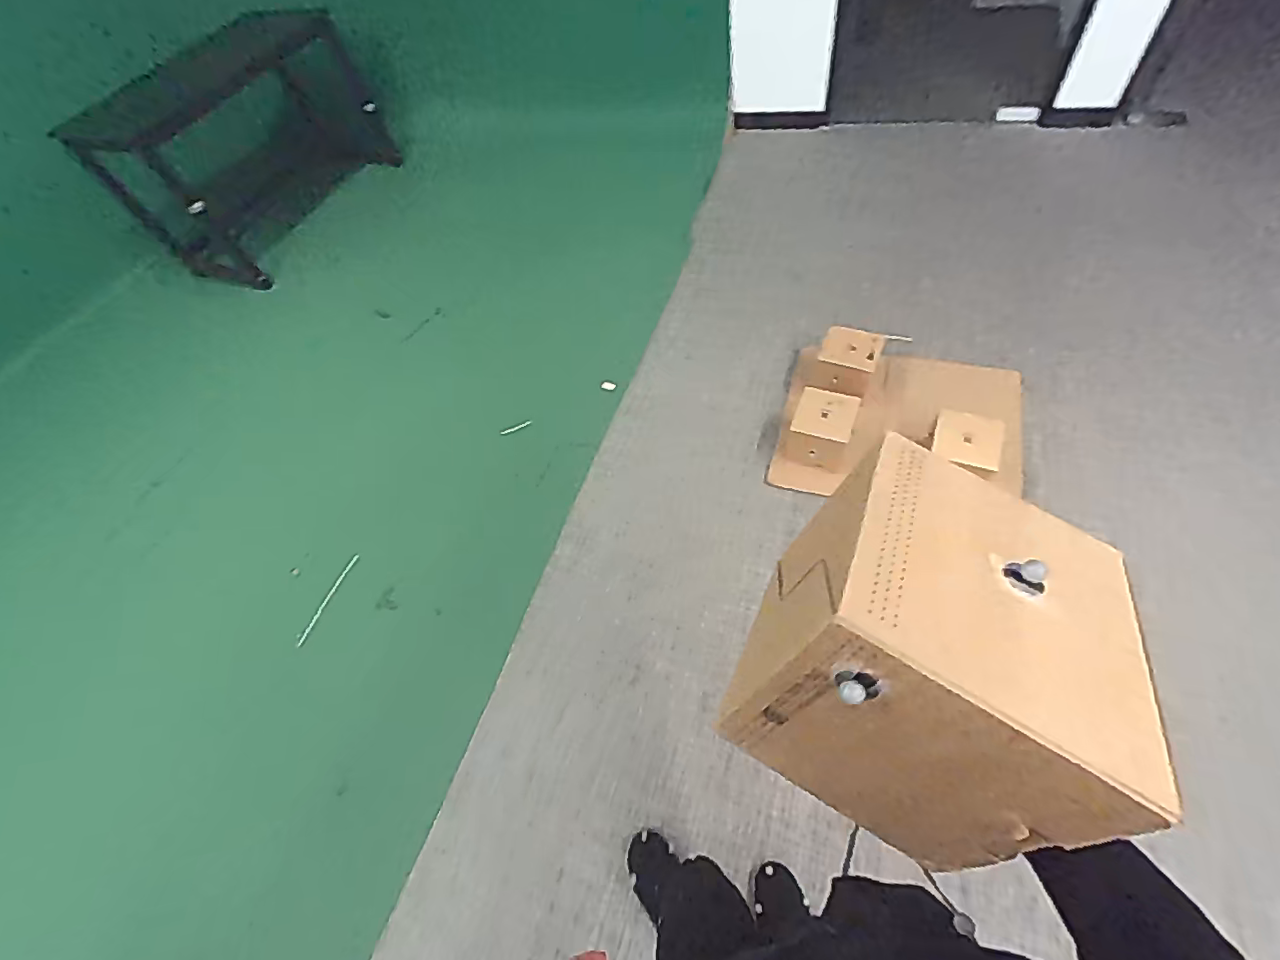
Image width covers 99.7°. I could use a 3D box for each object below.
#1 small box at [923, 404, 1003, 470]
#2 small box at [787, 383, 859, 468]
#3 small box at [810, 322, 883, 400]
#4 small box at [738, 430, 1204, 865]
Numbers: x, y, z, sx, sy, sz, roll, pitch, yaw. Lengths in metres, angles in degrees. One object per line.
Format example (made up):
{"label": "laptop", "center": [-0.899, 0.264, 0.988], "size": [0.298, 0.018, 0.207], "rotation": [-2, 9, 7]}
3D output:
{"label": "small box", "center": [0.895, -0.083, 1.531], "size": [0.168, 0.176, 0.179], "rotation": [16, 62, 19]}
{"label": "small box", "center": [0.551, -0.161, 1.645], "size": [0.168, 0.176, 0.179], "rotation": [17, 62, 19]}
{"label": "small box", "center": [0.668, -0.383, 1.763], "size": [0.179, 0.176, 0.168], "rotation": [18, 63, 20]}
{"label": "small box", "center": [0.186, 0.101, 0.353], "size": [0.176, 0.168, 0.179], "rotation": [31, 46, 8]}
